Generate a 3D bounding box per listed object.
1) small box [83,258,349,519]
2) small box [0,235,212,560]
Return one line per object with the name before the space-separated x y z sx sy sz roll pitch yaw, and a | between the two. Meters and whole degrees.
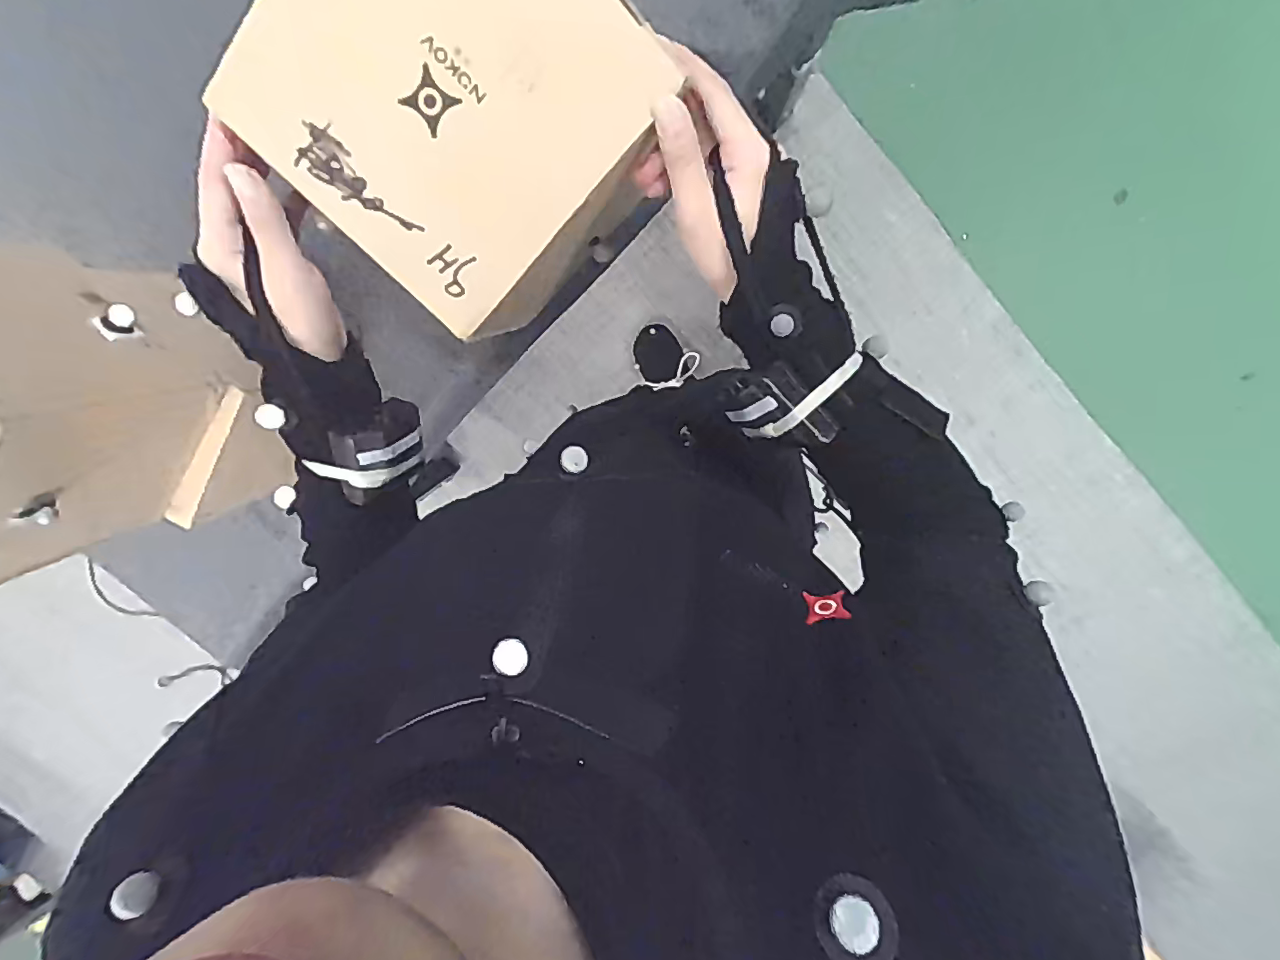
small box | -0.445 -0.097 0.547 0.179 0.176 0.168 35 109 -7
small box | -0.469 -0.056 0.391 0.168 0.176 0.179 39 108 -9
